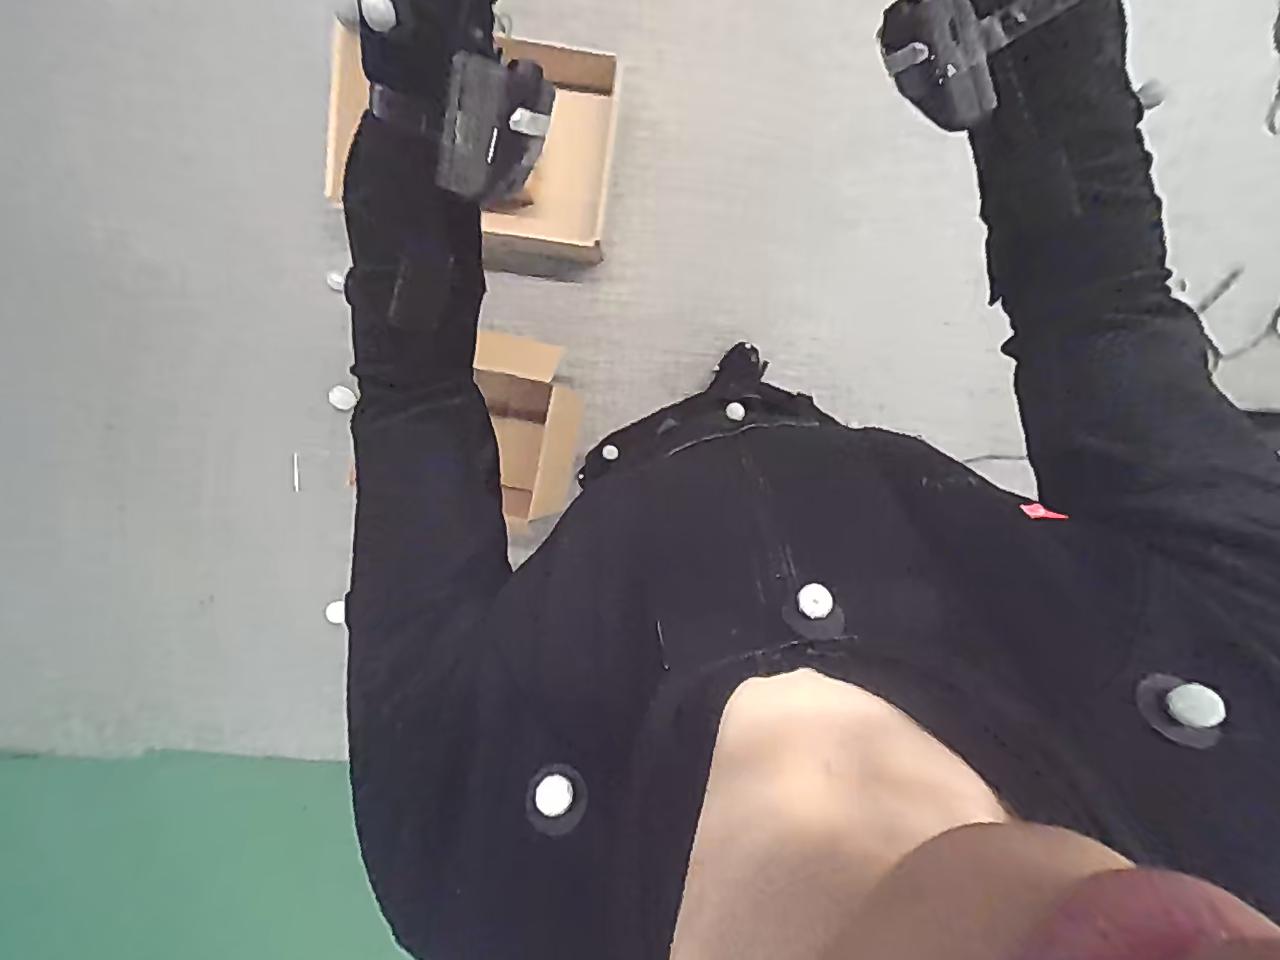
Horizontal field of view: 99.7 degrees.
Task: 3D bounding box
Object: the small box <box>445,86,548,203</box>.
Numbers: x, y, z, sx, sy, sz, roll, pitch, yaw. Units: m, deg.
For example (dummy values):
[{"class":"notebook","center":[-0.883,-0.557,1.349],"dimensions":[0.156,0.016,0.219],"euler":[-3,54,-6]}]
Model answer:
[{"class":"small box","center":[-0.321,-0.755,1.234],"dimensions":[0.179,0.176,0.168],"euler":[8,98,1]}]
